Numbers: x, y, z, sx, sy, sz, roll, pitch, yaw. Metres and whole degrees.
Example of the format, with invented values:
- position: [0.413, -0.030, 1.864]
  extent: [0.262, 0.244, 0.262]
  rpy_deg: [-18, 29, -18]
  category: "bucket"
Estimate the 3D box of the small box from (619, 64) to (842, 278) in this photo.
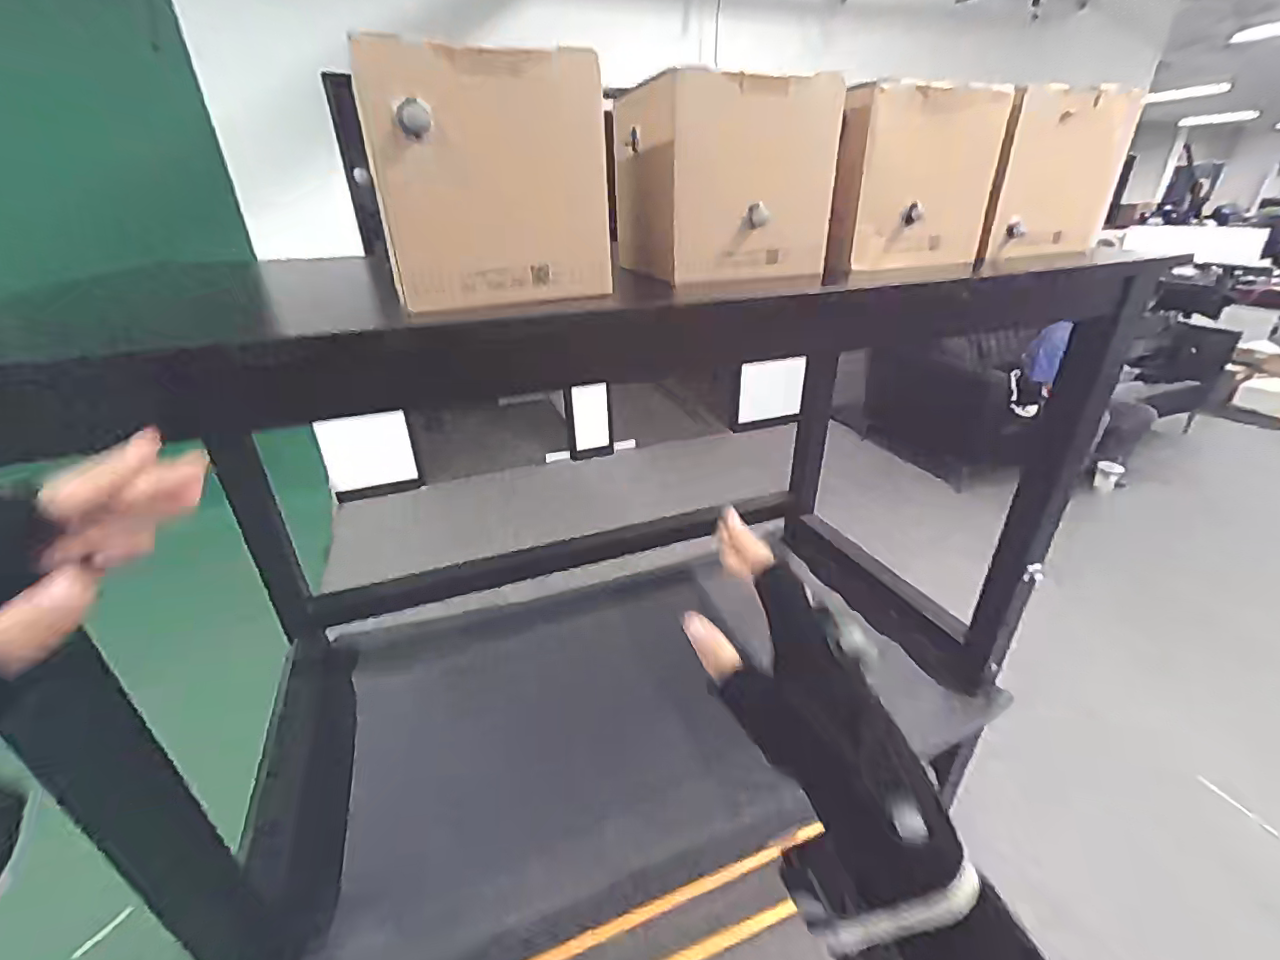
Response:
- position: [0.079, -0.309, 0.568]
  extent: [0.168, 0.176, 0.179]
  rpy_deg: [-10, 28, -16]
  category: "small box"

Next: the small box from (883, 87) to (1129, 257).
- position: [0.438, -0.375, 0.679]
  extent: [0.168, 0.176, 0.179]
  rpy_deg: [-10, 27, -15]
  category: "small box"
